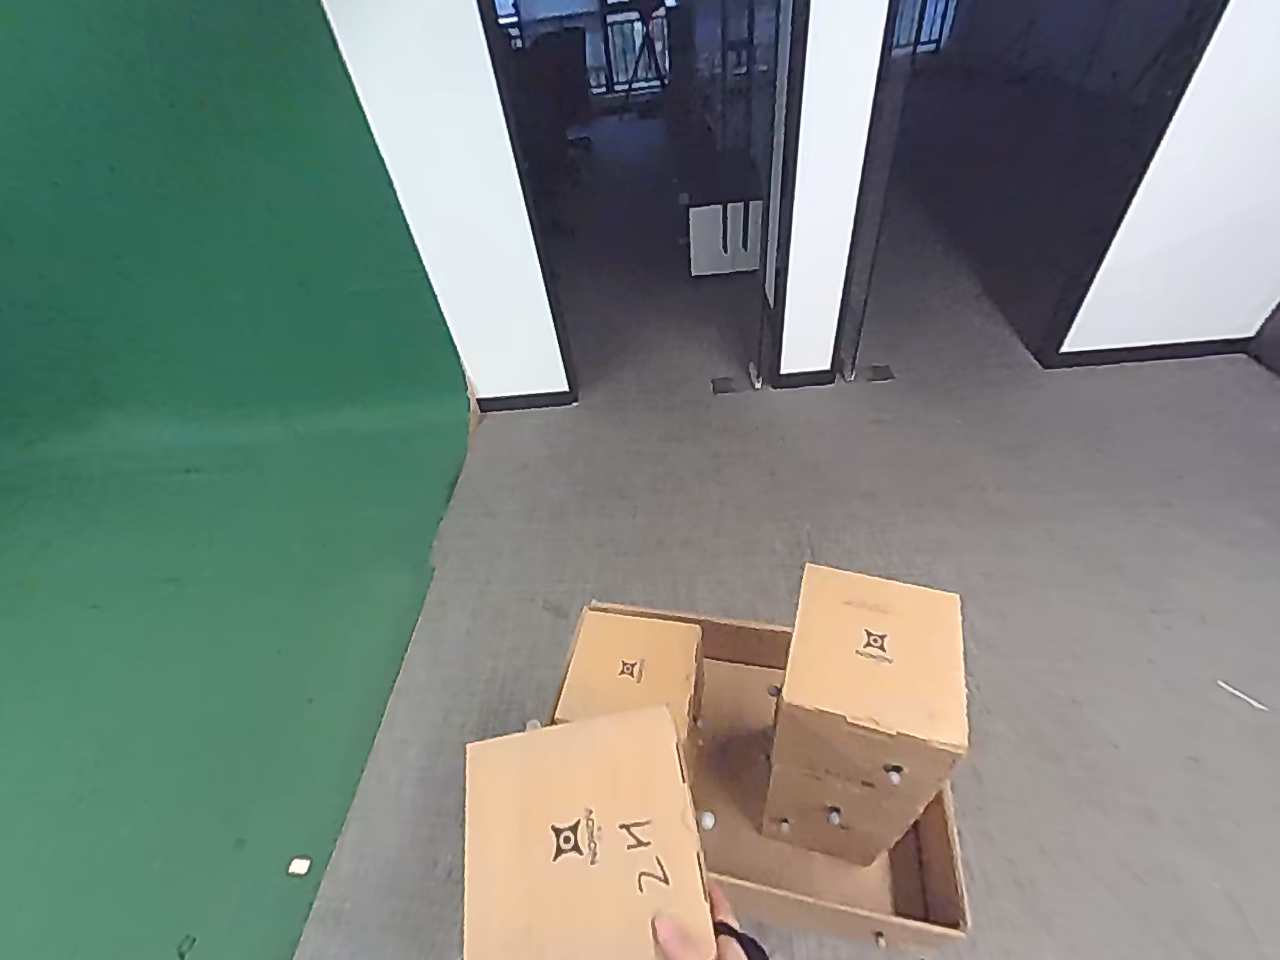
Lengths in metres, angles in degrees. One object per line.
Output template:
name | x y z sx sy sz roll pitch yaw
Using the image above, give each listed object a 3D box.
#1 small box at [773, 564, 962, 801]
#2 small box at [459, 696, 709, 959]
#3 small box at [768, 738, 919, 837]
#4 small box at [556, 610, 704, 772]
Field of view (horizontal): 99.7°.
small box | 0.248 0.227 0.610 0.168 0.176 0.179 10 46 19
small box | -0.041 0.308 0.477 0.179 0.176 0.168 -11 56 0
small box | 0.268 0.344 0.724 0.168 0.176 0.179 9 47 18
small box | -0.003 0.317 0.800 0.179 0.176 0.168 4 45 12
